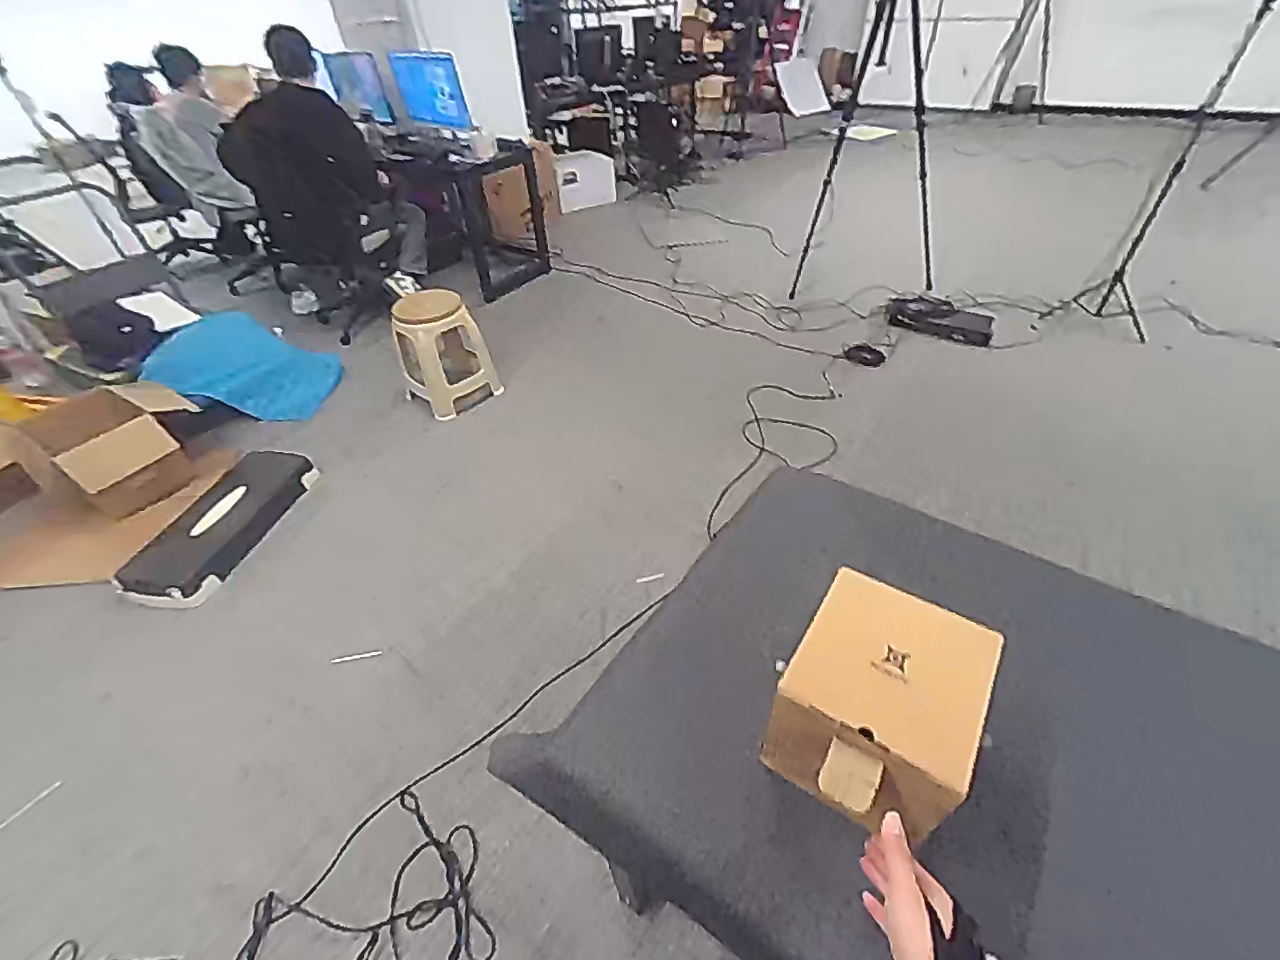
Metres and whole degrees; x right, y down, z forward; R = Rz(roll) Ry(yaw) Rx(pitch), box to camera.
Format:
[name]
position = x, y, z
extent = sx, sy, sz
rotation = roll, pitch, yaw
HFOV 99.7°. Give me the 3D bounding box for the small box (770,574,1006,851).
[small box]
position = 0.250, 0.240, 0.572
extent = 0.168, 0.176, 0.179
rotation = 23, 48, 26
